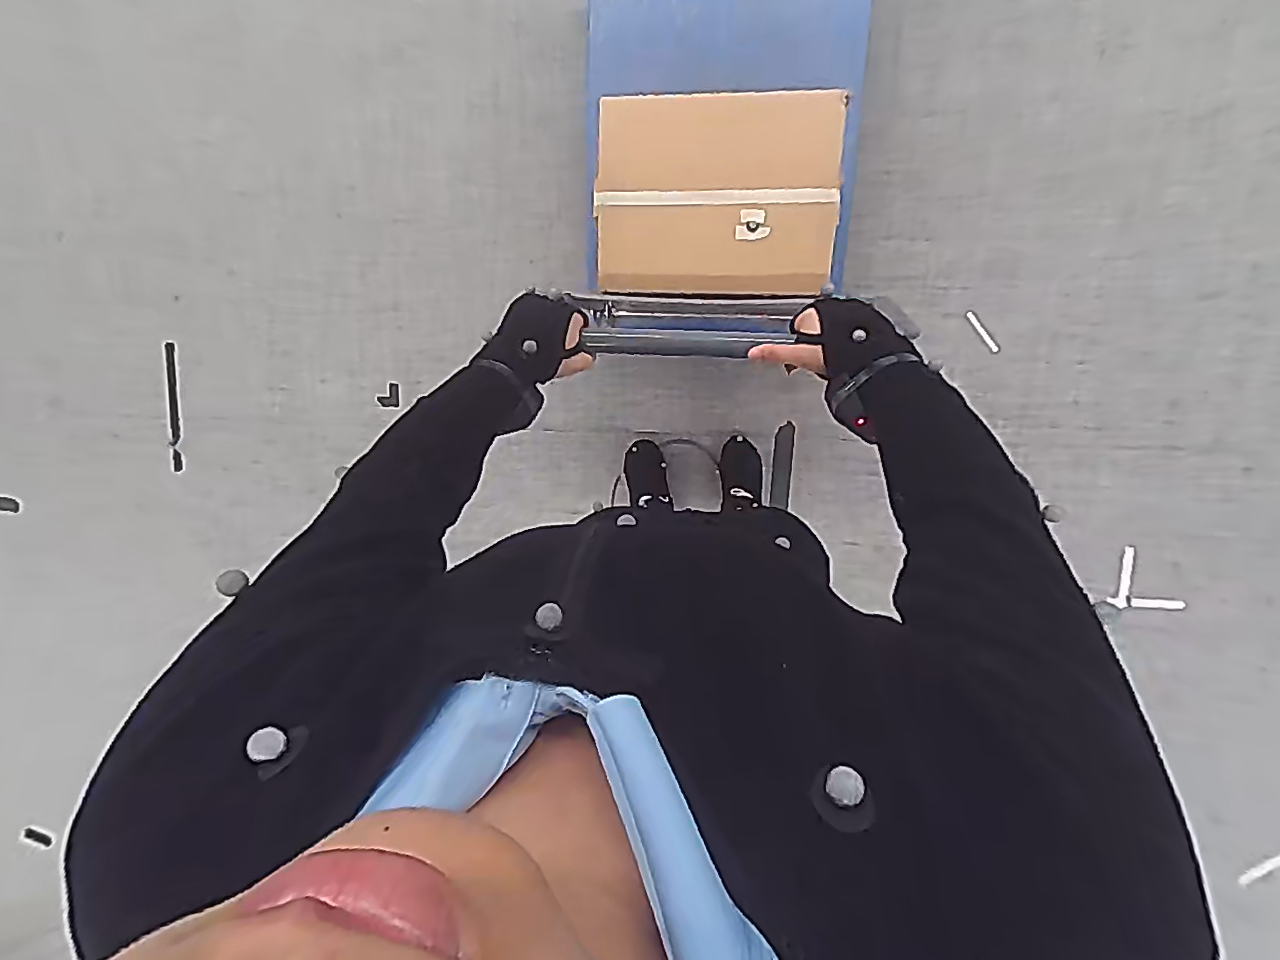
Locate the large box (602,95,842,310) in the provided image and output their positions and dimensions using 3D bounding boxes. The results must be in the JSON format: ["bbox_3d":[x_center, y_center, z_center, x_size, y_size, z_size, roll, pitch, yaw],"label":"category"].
[{"bbox_3d":[0.149,-0.514,1.077,0.408,0.320,0.320,3,104,7],"label":"large box"}]
